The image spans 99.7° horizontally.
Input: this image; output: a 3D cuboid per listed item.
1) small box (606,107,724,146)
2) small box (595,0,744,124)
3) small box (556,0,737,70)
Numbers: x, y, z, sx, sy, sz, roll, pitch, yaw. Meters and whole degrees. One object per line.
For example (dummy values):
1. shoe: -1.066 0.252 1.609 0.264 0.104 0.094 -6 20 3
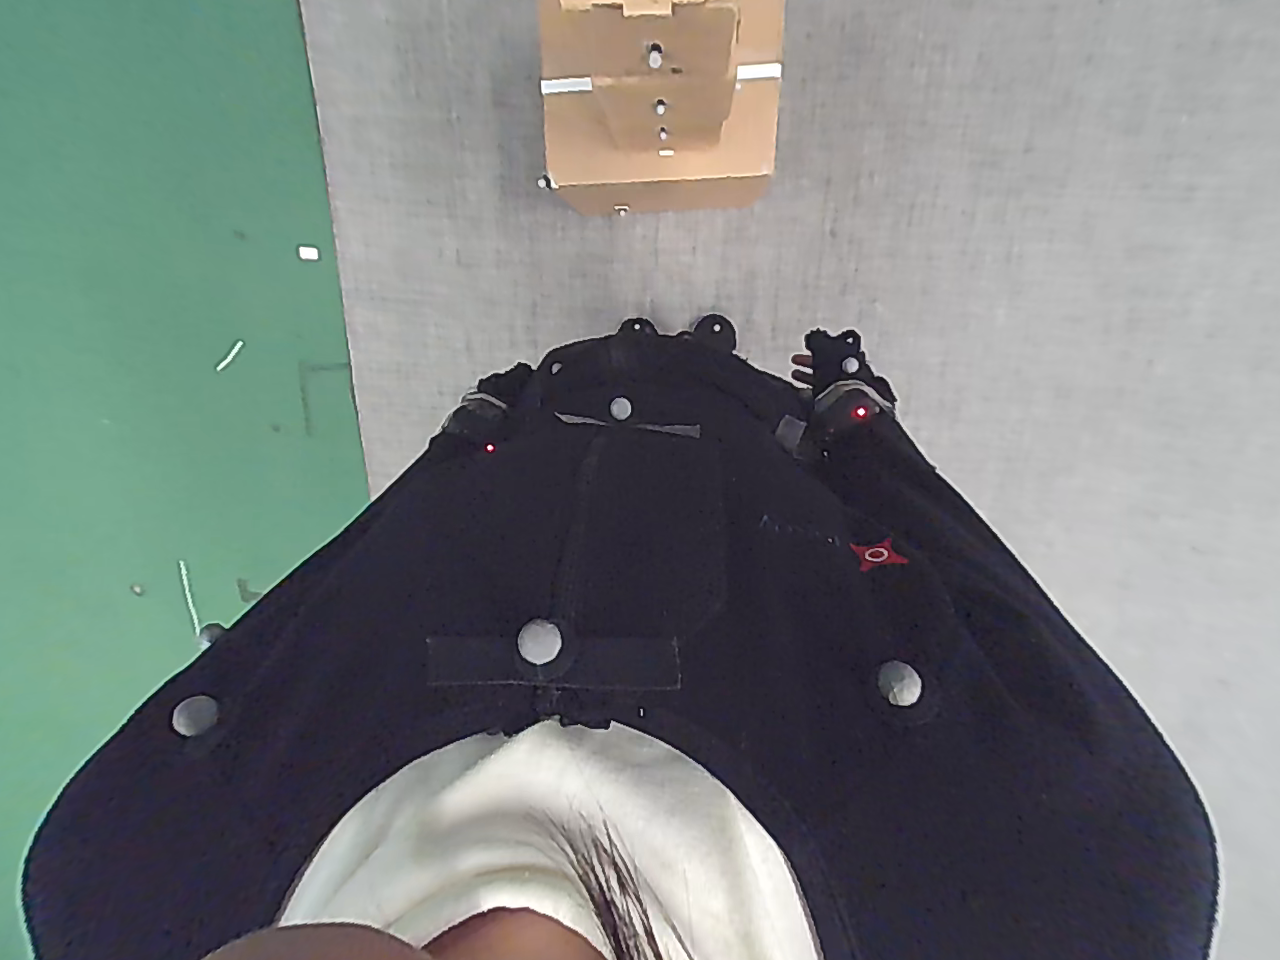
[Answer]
1. small box: 0.045 -0.635 0.842 0.179 0.176 0.168 2 109 4
2. small box: 0.035 -0.576 0.689 0.179 0.176 0.168 -2 109 6
3. small box: 0.017 -0.533 0.532 0.168 0.176 0.179 5 110 5
